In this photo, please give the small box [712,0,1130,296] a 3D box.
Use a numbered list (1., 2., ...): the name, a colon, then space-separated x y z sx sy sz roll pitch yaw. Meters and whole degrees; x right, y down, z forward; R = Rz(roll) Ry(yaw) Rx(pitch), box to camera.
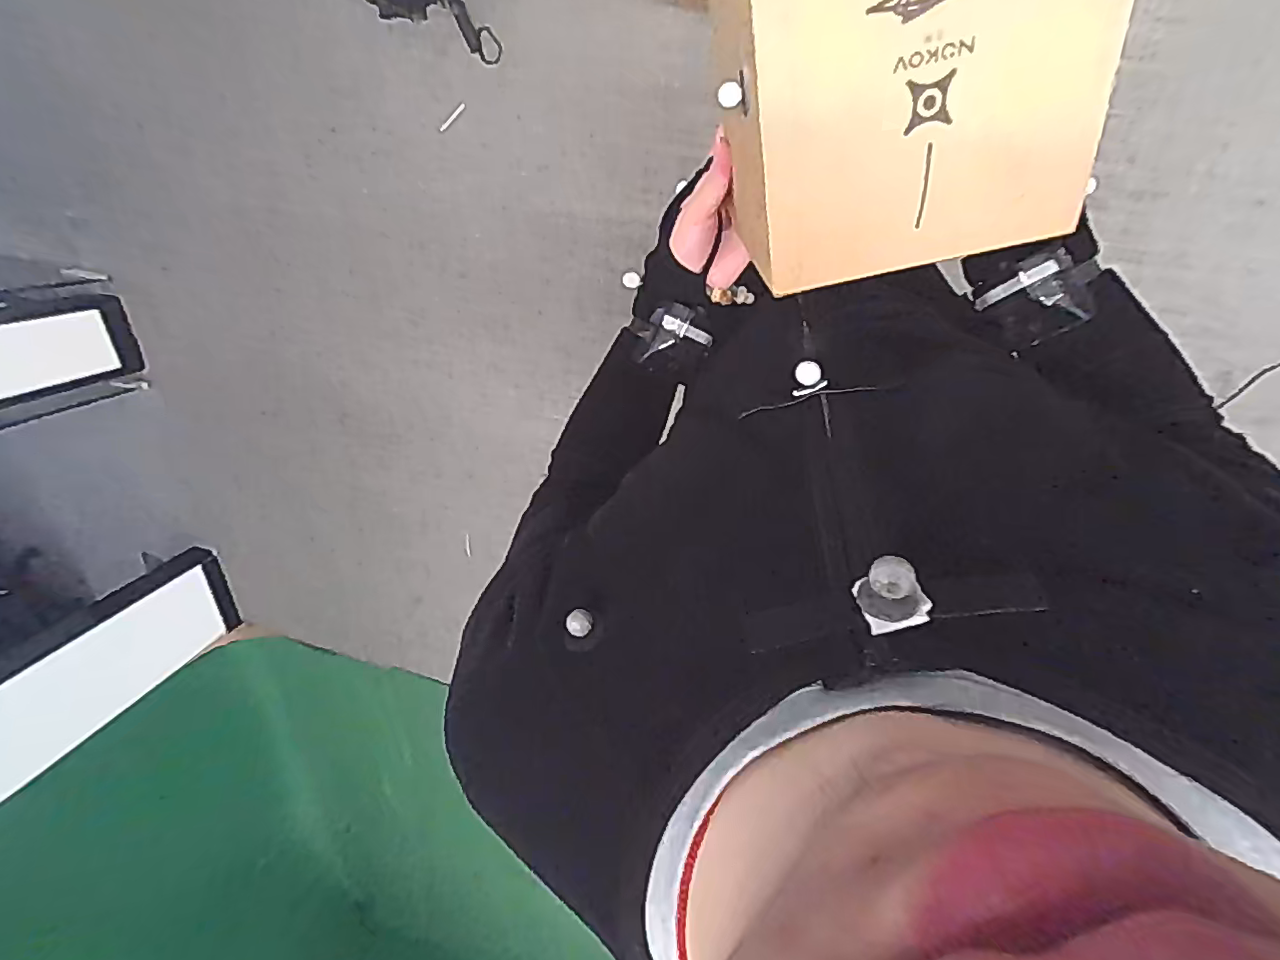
1. small box: 0.140 -0.237 0.324 0.168 0.176 0.179 -9 128 8
